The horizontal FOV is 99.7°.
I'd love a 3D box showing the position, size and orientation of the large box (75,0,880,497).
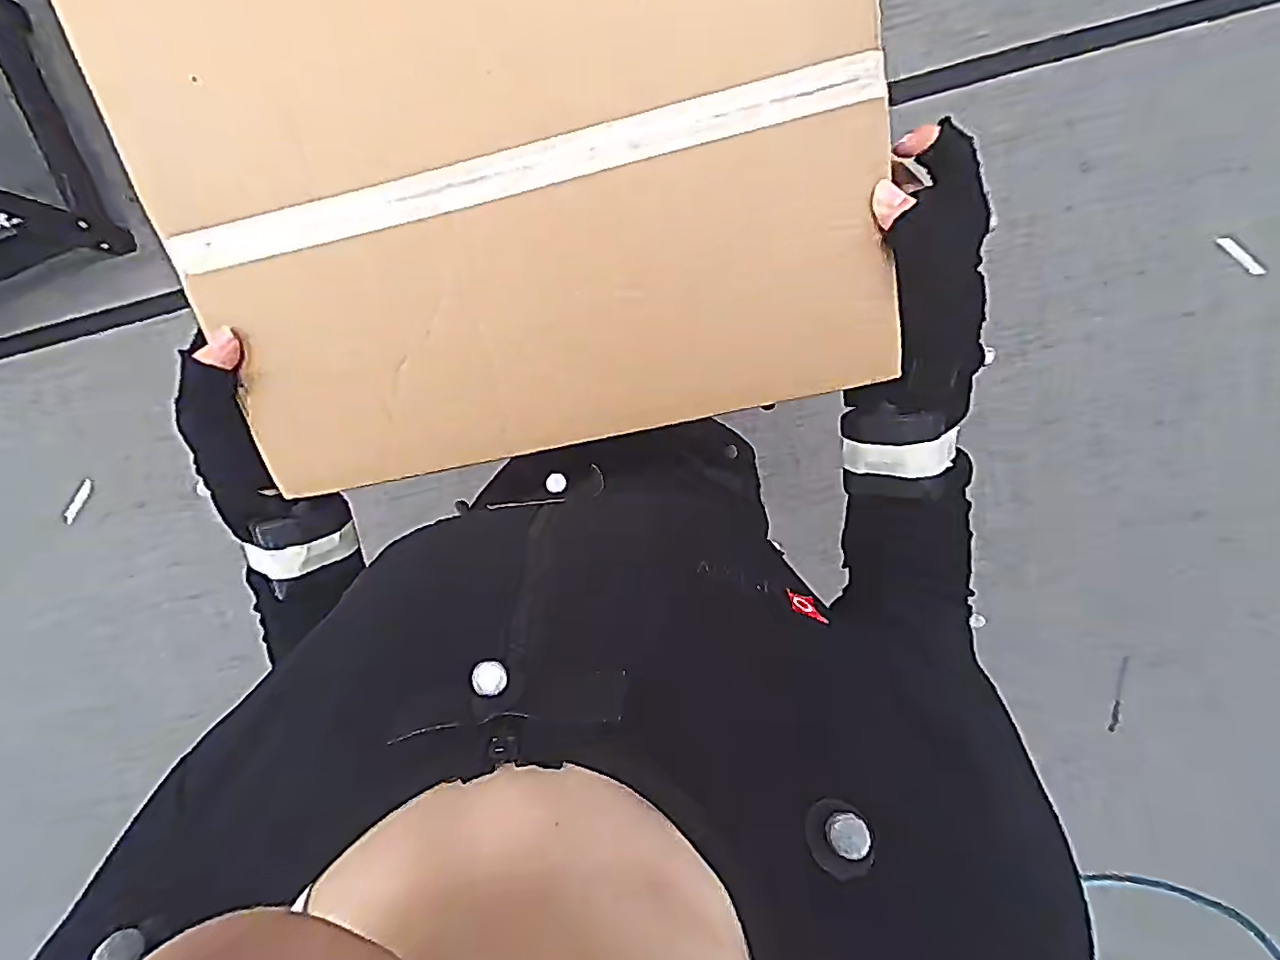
[{"bbox_3d":[-0.069,-0.217,0.448,0.408,0.320,0.320,-11,108,6],"label":"large box"}]
